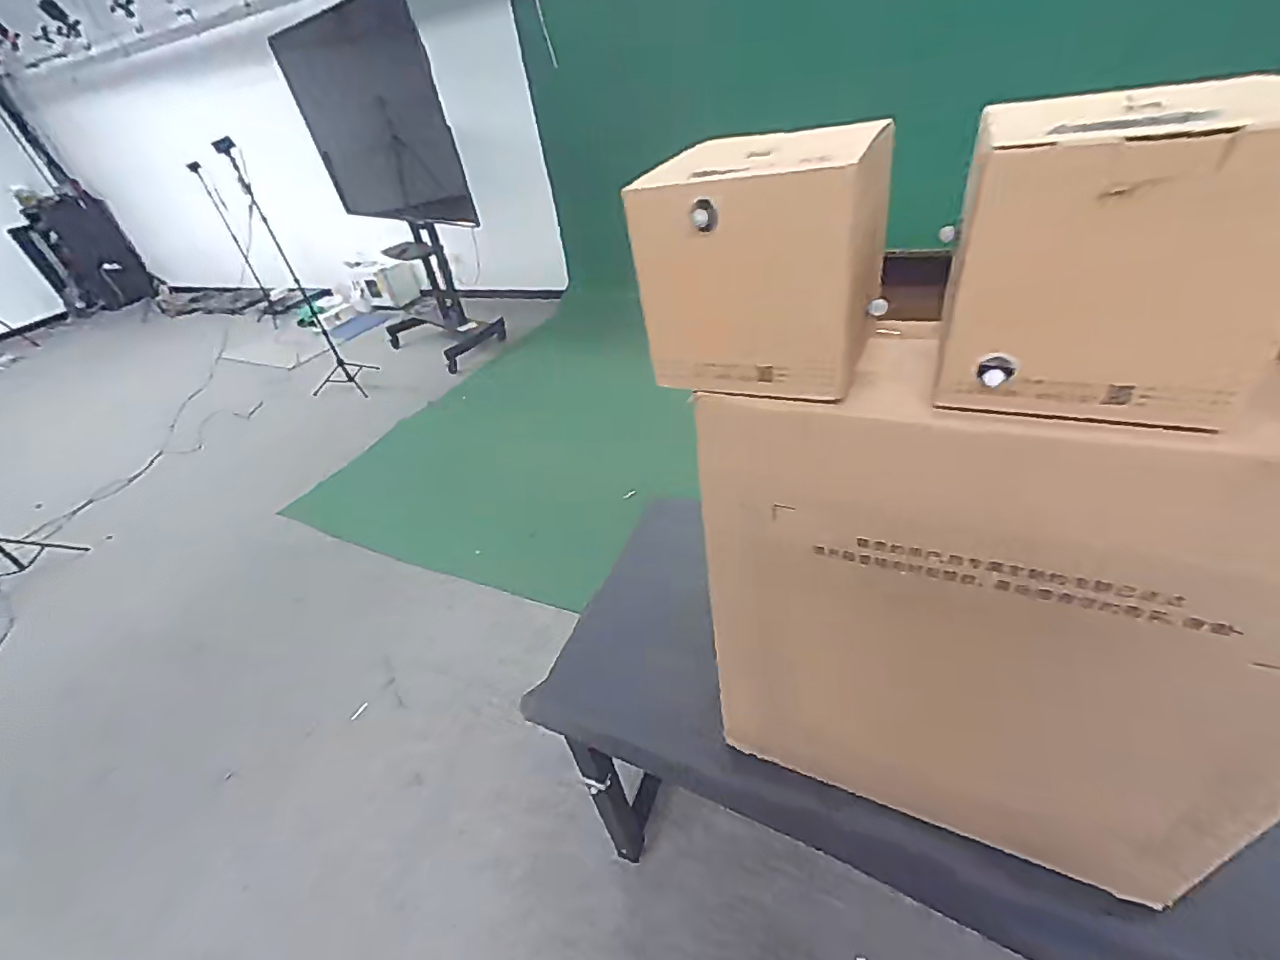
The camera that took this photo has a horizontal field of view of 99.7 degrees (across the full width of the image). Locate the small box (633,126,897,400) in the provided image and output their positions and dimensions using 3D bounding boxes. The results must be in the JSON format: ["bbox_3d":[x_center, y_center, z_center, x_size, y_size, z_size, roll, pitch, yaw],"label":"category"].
[{"bbox_3d":[0.115,-0.189,0.472,0.168,0.176,0.179,10,41,28],"label":"small box"}]
